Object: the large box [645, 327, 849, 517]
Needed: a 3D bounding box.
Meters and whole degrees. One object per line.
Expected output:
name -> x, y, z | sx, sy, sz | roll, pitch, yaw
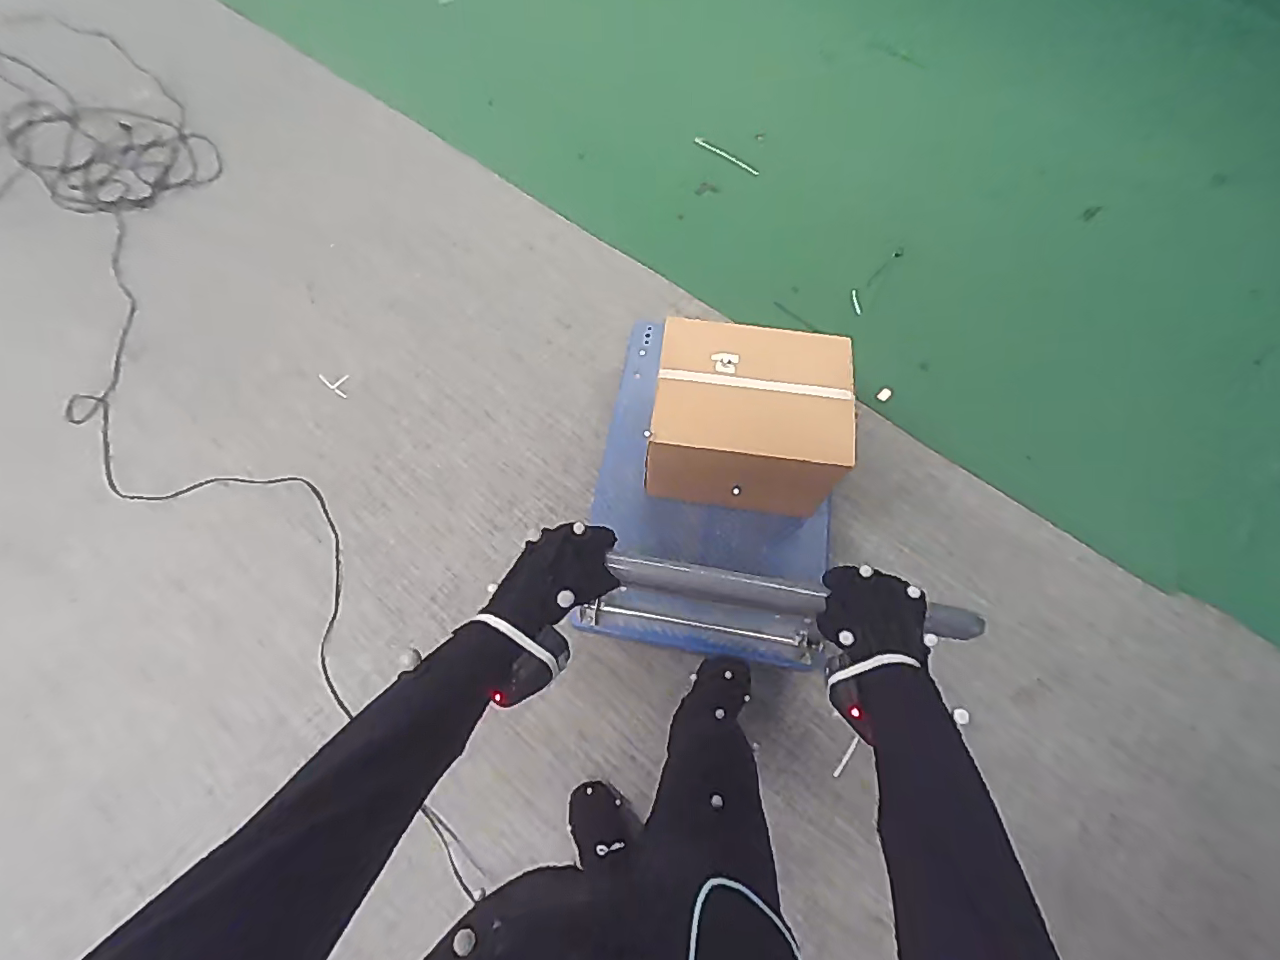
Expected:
large box -> 0.230, -0.120, 1.257 | 0.408, 0.320, 0.320 | 7, 66, 2
